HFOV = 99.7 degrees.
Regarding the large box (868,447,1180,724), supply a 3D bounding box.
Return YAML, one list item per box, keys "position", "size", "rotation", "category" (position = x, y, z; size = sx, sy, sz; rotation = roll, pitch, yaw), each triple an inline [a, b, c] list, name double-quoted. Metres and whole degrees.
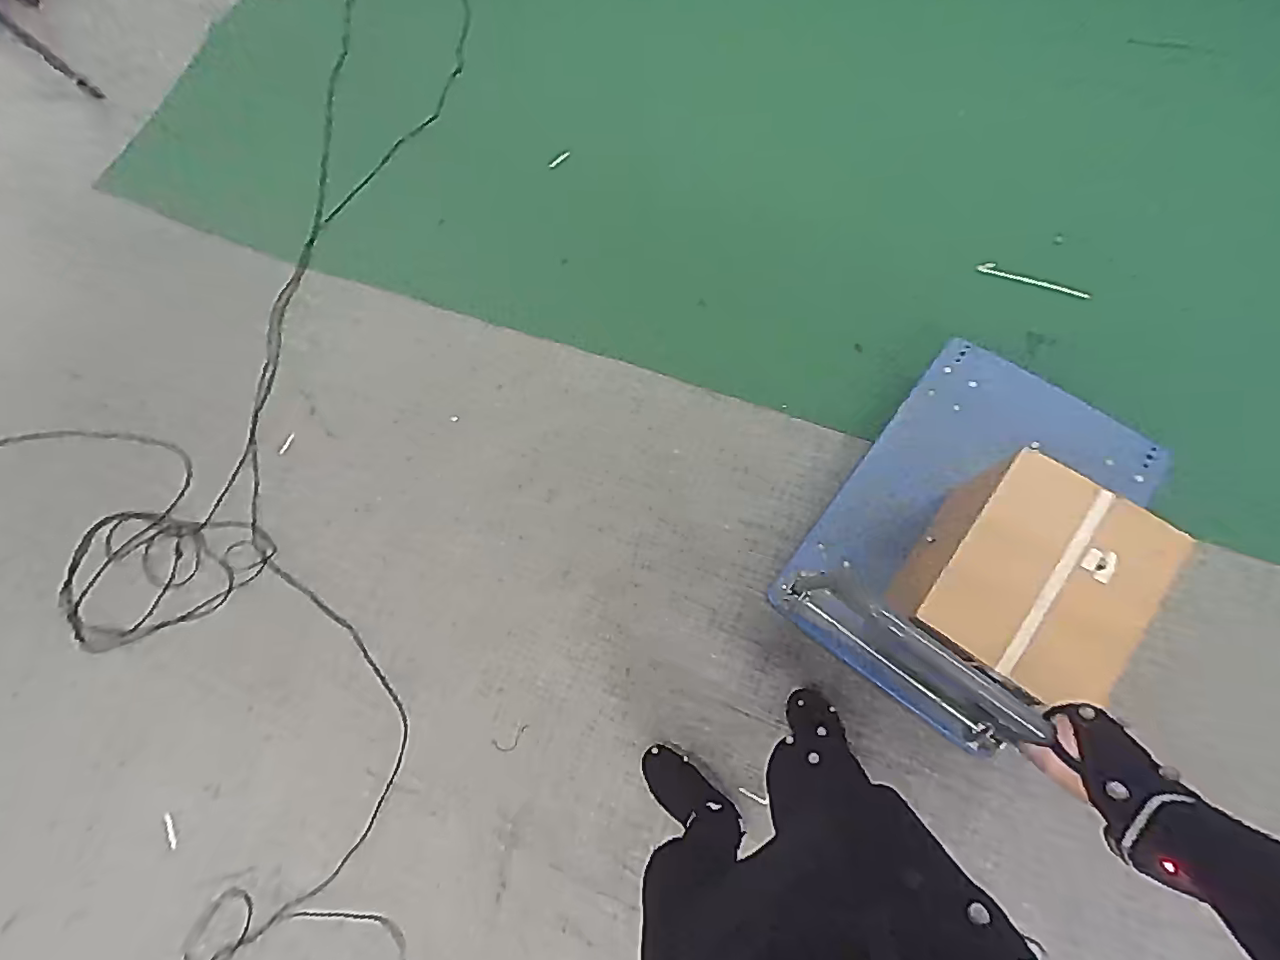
- position: [0.743, 0.216, 1.108]
  size: [0.320, 0.320, 0.408]
  rotation: [36, 80, 14]
  category: "large box"
